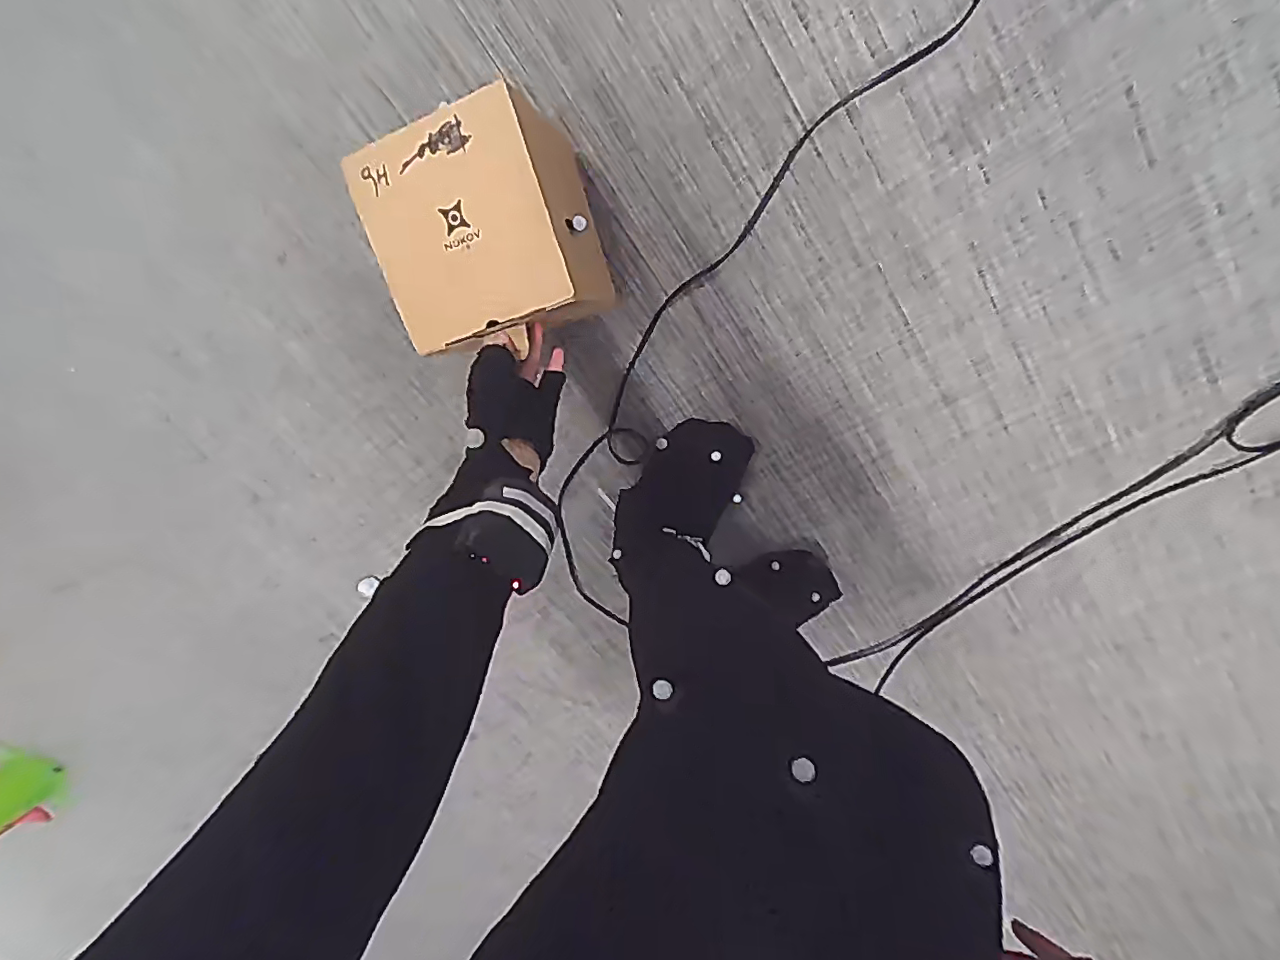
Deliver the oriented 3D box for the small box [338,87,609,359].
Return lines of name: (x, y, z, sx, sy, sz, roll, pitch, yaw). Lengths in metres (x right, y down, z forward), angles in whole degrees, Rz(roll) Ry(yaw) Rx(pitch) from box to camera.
small box: (-0.142, -0.234, 0.533, 0.168, 0.176, 0.179, -14, 105, 14)
